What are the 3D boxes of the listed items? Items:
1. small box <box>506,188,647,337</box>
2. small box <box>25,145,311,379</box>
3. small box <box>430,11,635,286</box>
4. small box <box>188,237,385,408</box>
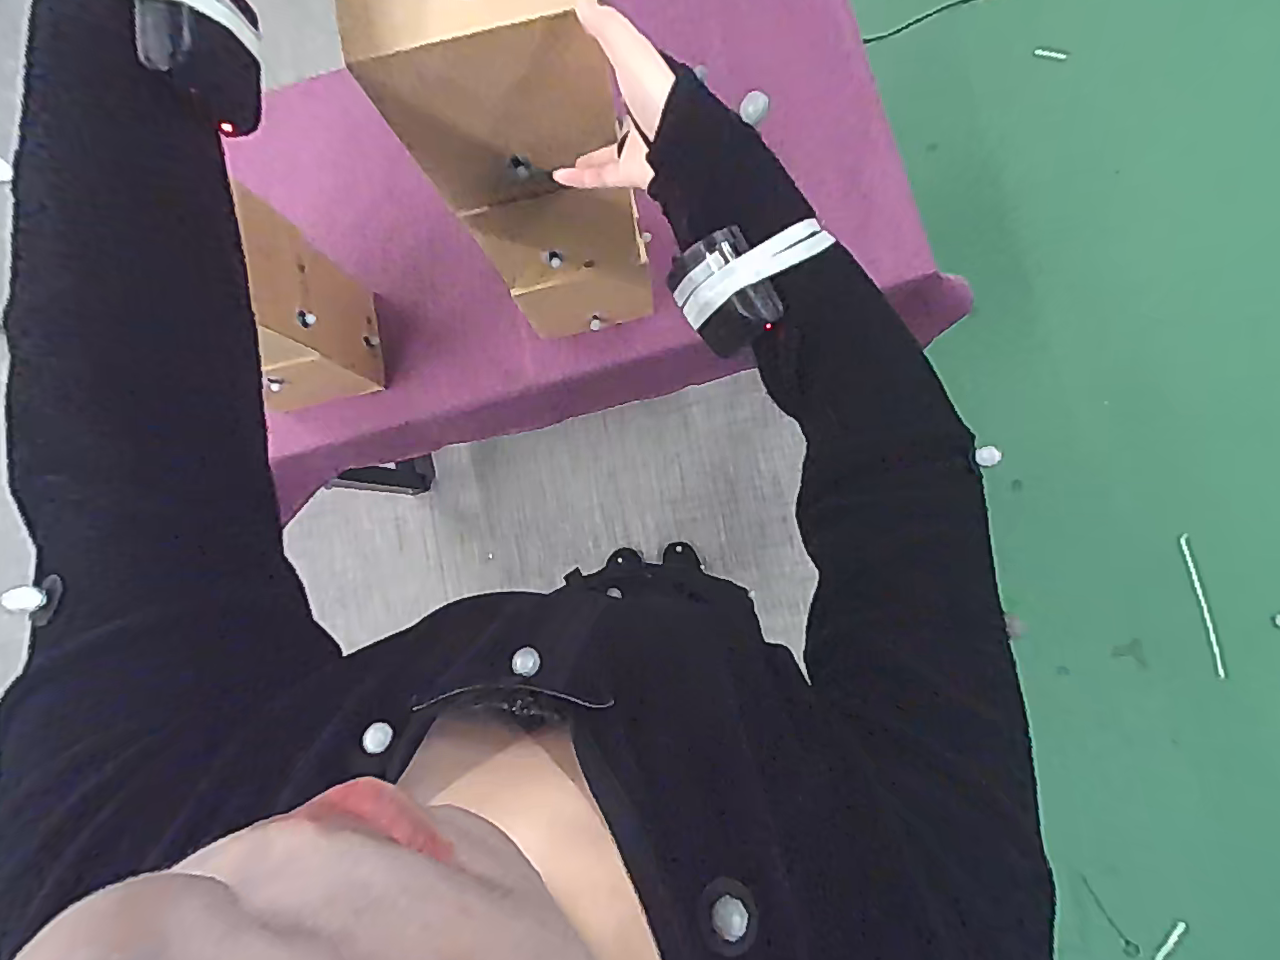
[{"bbox_3d":[-0.090,-0.319,0.752,0.179,0.176,0.168,-13,84,2],"label":"small box"},{"bbox_3d":[-0.501,-0.226,0.604,0.179,0.176,0.168,-12,85,3],"label":"small box"},{"bbox_3d":[-0.104,-0.343,0.591,0.168,0.176,0.179,-12,86,3],"label":"small box"},{"bbox_3d":[-0.496,-0.209,0.767,0.179,0.176,0.168,-12,85,2],"label":"small box"}]
